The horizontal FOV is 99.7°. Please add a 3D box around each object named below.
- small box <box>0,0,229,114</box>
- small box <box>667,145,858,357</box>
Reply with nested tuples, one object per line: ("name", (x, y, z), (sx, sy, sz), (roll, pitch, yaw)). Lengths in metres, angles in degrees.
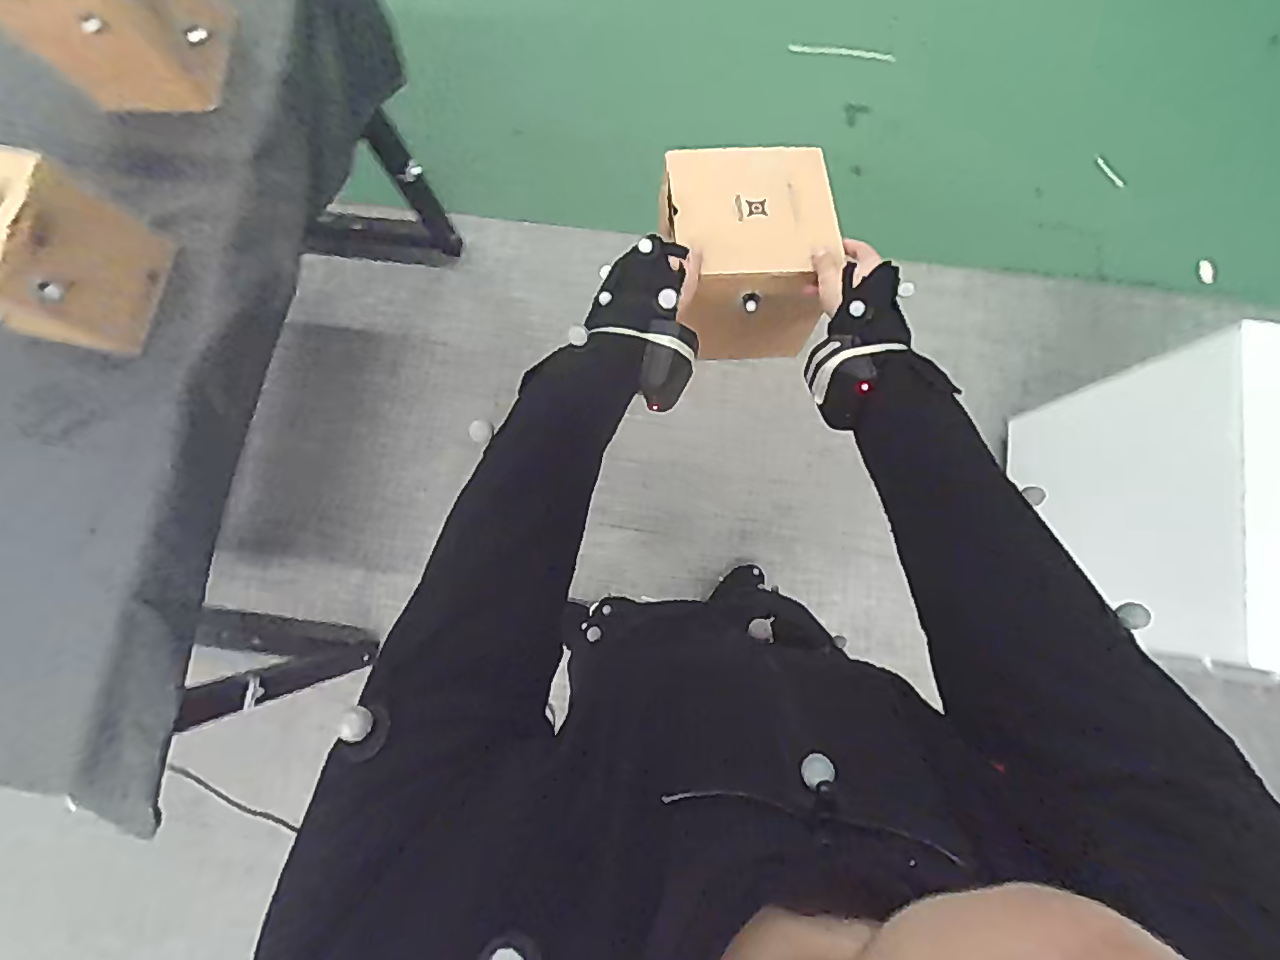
("small box", (-0.702, -0.622, 0.716), (0.179, 0.176, 0.168), (2, 81, 2))
("small box", (0.125, -0.257, 0.635), (0.179, 0.176, 0.168), (-2, 72, -4))
